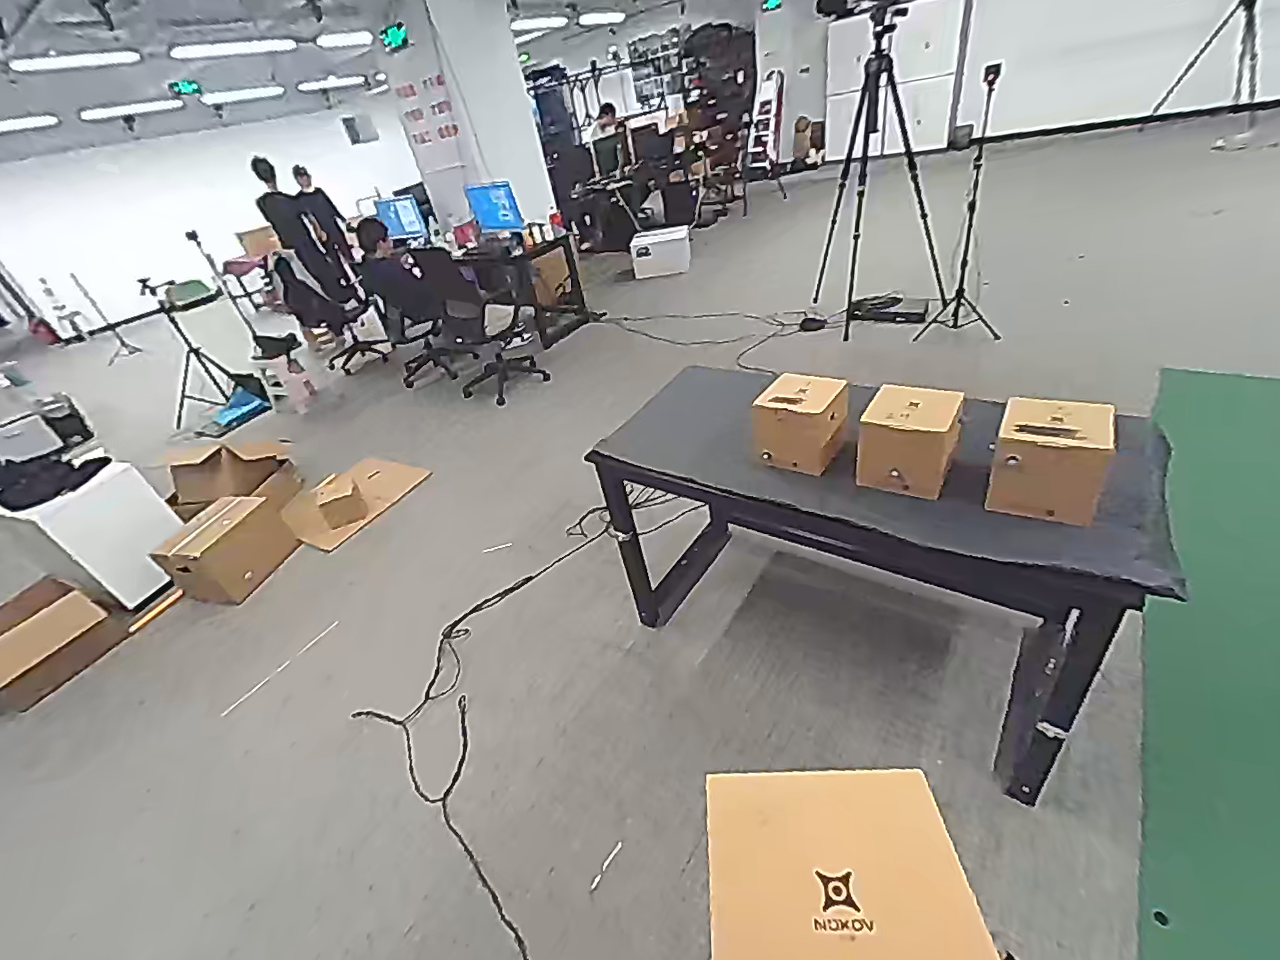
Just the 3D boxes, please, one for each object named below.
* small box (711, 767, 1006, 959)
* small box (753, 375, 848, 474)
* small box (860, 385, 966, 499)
[{"bbox_3d":[0.138,0.334,0.378,0.168,0.176,0.179,-5,27,7],"label":"small box"},{"bbox_3d":[0.394,-0.136,1.313,0.168,0.176,0.179,17,43,35],"label":"small box"},{"bbox_3d":[0.587,-0.085,1.175,0.168,0.176,0.179,14,43,35],"label":"small box"}]
